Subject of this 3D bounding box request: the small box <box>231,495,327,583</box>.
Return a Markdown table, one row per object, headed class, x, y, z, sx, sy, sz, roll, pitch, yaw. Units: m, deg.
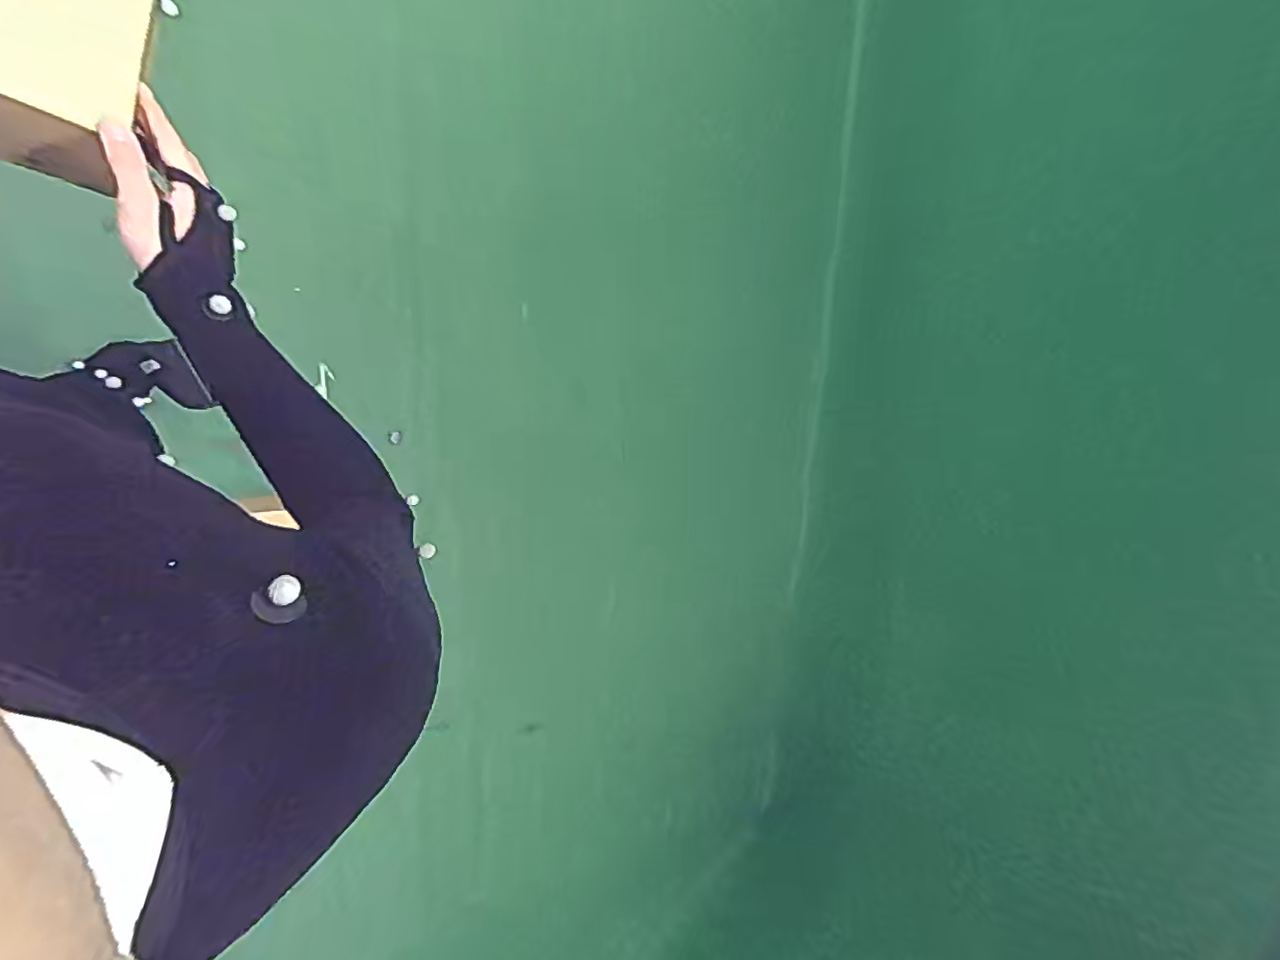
| class | x | y | z | sx | sy | sz | roll | pitch | yaw |
| --- | --- | --- | --- | --- | --- | --- | --- | --- | --- |
| small box | -0.910 | 0.139 | 1.362 | 0.179 | 0.176 | 0.168 | -6 | 105 | -41 |
